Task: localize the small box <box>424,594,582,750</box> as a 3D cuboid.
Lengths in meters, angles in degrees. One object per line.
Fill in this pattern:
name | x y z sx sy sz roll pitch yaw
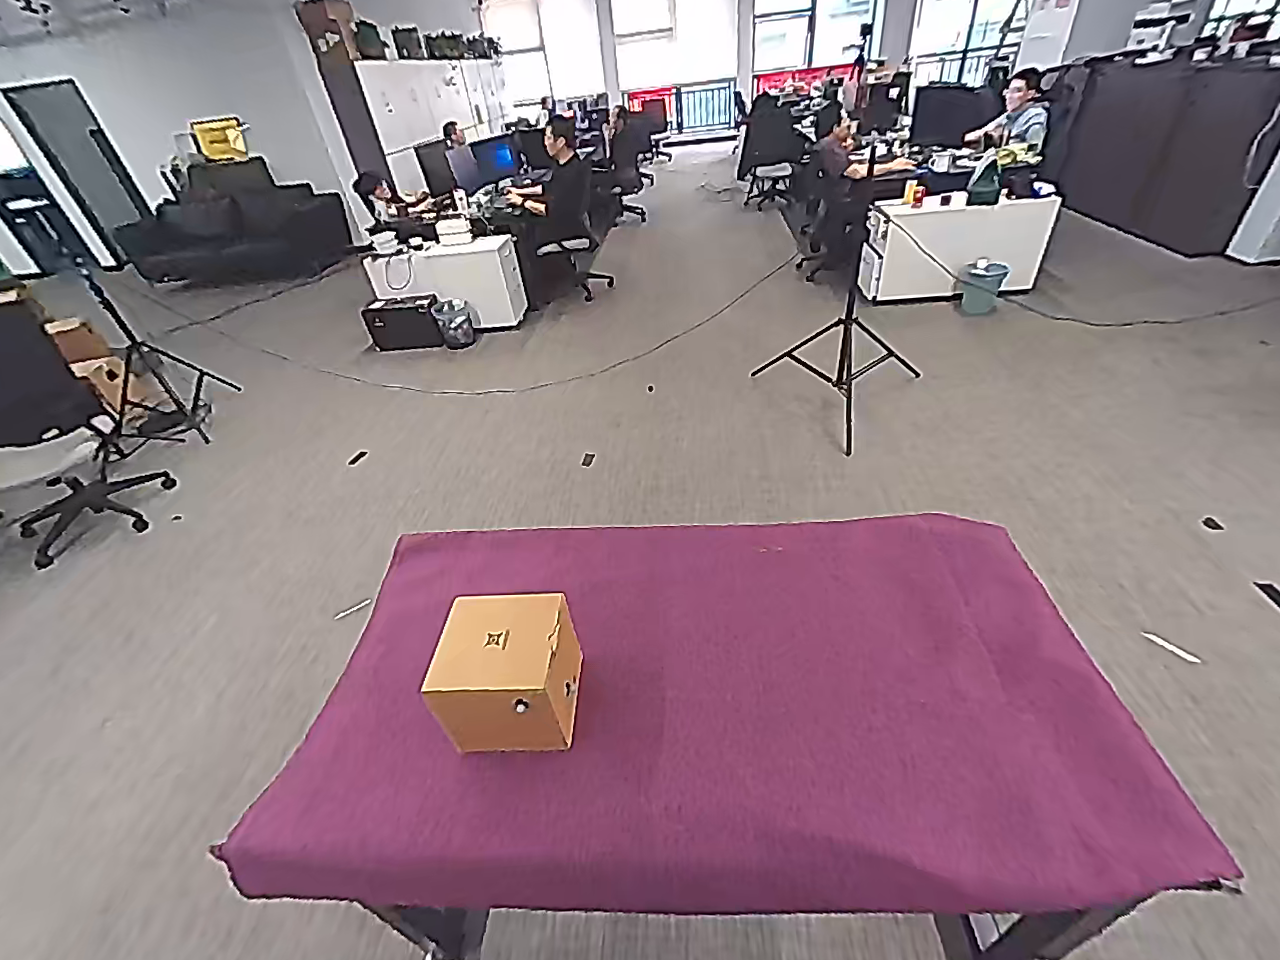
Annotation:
small box | -0.195 0.295 0.830 0.179 0.176 0.168 -3 37 4
